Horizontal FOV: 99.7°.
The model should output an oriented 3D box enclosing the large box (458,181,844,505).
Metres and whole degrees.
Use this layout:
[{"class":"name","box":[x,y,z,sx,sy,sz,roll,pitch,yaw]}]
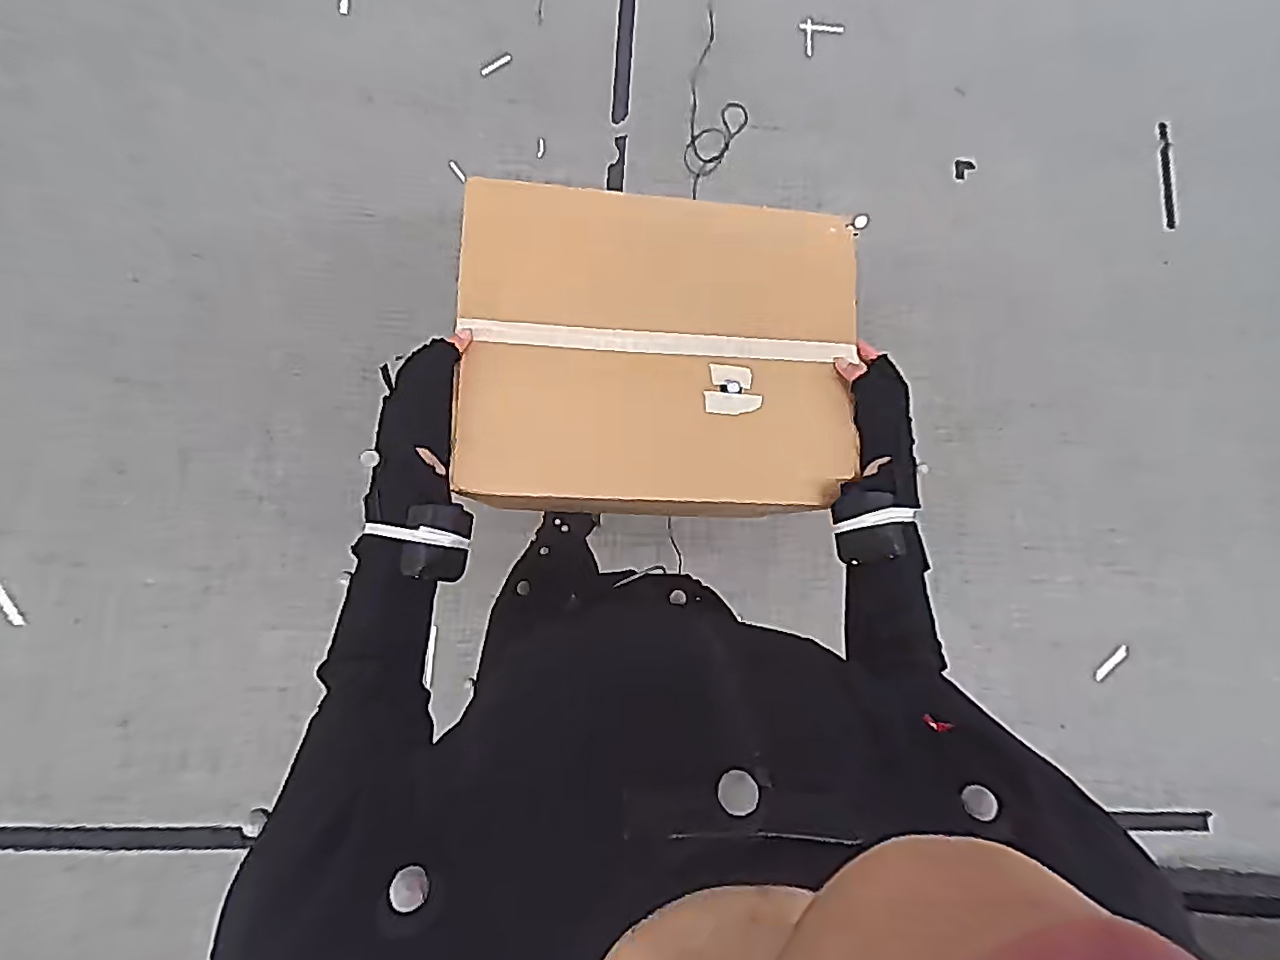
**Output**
[{"class":"large box","box":[0.000,-0.132,0.704,0.408,0.320,0.320,2,85,-8]}]
